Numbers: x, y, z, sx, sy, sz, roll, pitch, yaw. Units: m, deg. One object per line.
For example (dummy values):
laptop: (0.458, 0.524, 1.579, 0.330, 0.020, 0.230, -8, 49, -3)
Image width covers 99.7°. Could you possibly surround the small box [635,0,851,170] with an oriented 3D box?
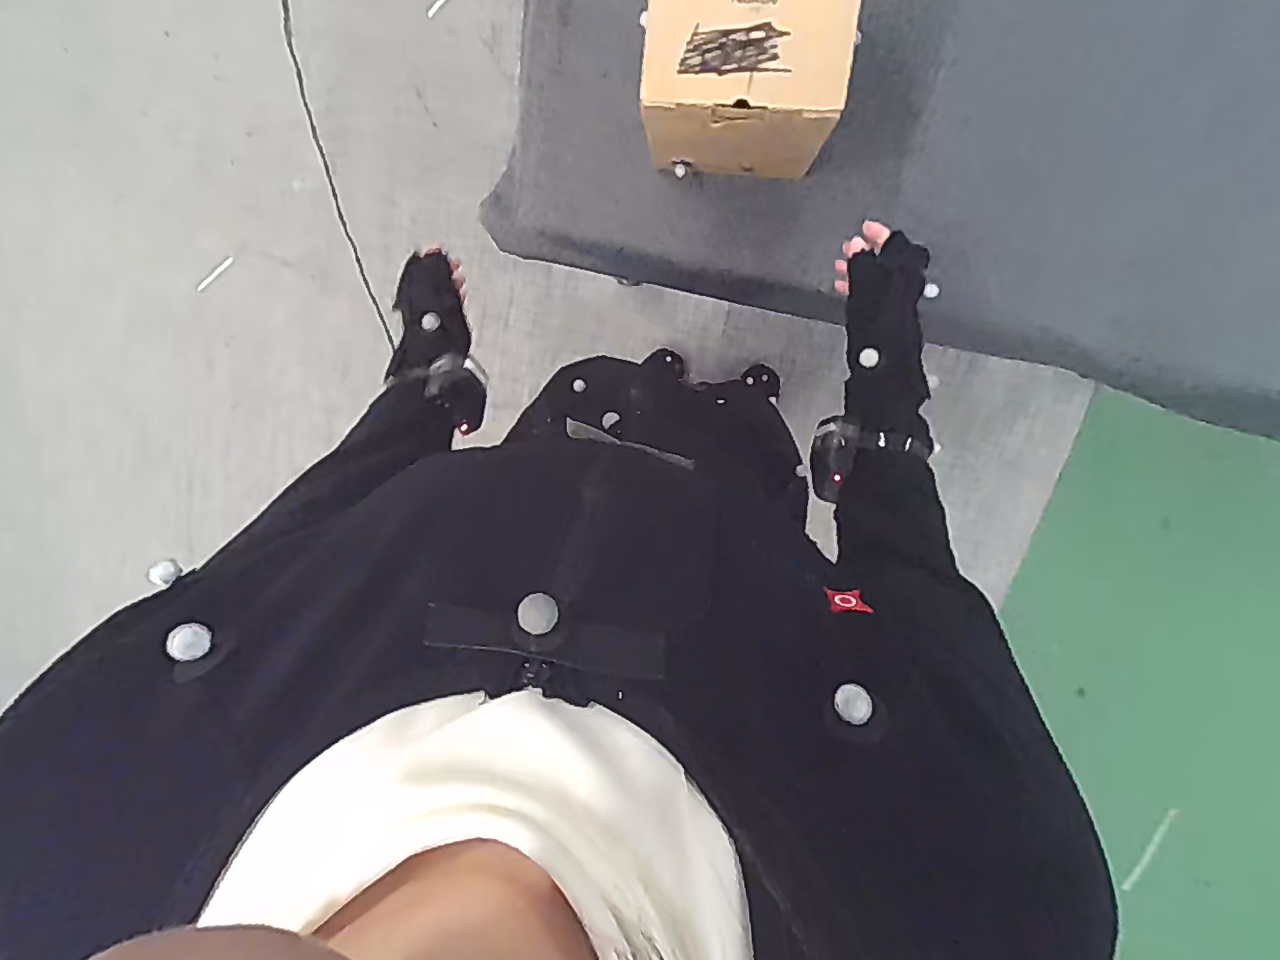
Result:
small box: (0.093, -0.408, 0.499, 0.168, 0.176, 0.179, 6, 103, 4)
